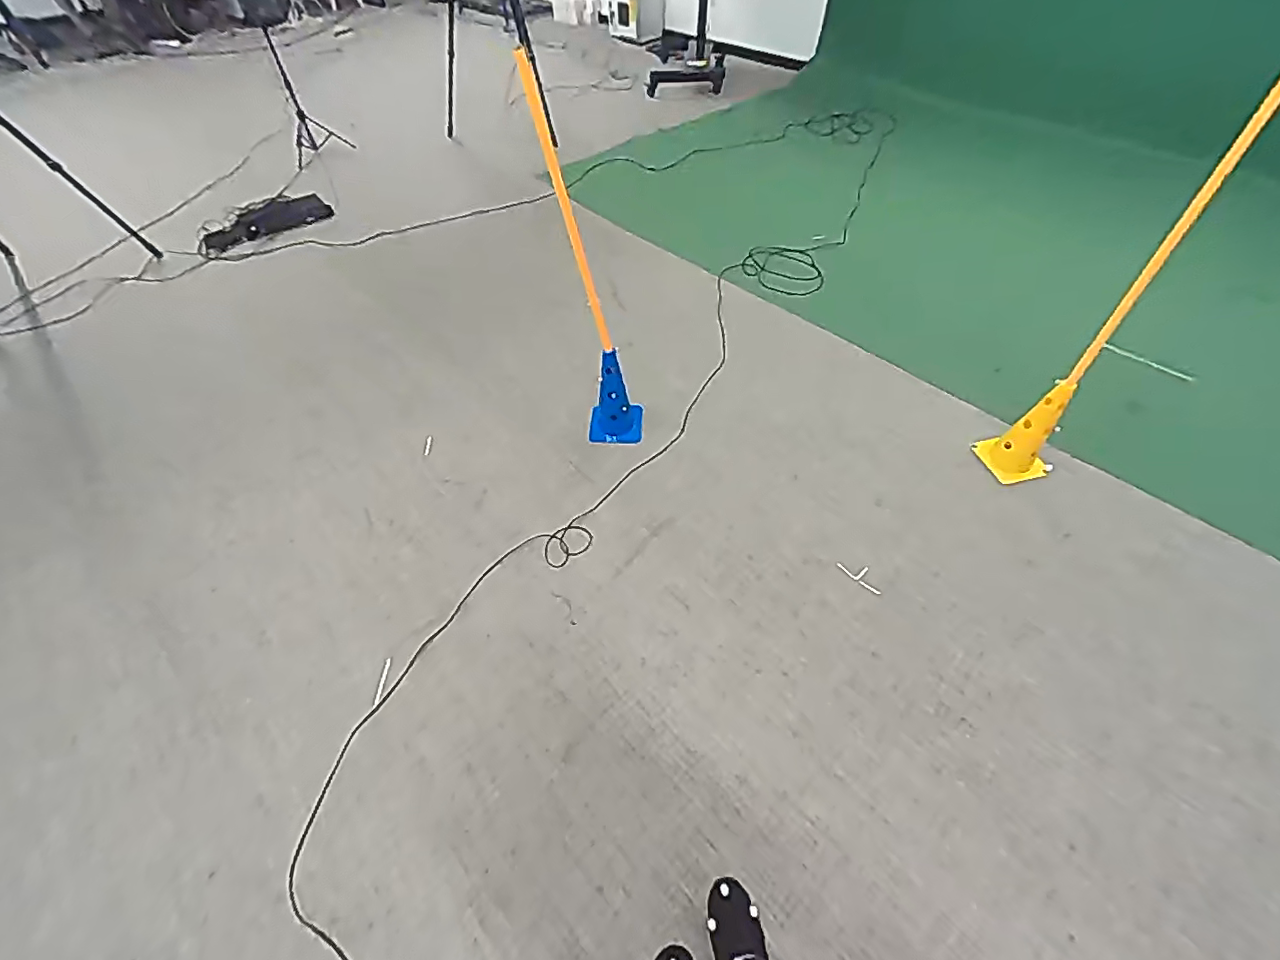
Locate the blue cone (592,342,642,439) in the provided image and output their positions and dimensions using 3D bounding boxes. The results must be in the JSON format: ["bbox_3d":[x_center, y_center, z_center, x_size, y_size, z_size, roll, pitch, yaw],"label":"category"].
[{"bbox_3d":[-0.097,-0.329,1.941,0.193,0.380,0.192,-1,52,3],"label":"blue cone"}]
